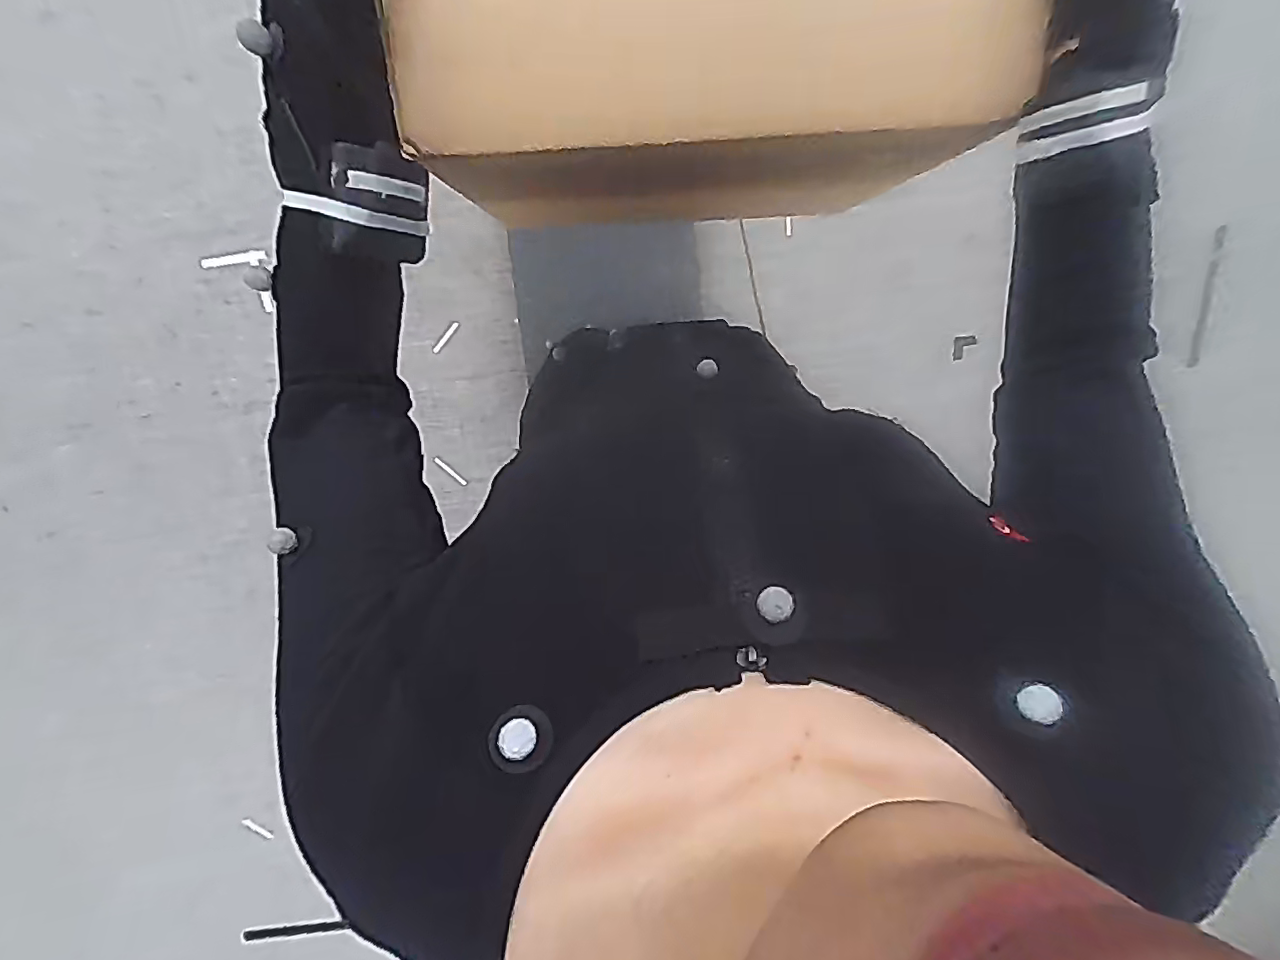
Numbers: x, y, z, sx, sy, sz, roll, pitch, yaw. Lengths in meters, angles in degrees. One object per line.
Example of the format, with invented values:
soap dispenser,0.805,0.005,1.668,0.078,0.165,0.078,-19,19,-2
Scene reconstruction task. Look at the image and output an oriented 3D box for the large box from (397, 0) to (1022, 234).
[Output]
large box,0.034,-0.414,0.463,0.408,0.320,0.320,-4,106,-1
